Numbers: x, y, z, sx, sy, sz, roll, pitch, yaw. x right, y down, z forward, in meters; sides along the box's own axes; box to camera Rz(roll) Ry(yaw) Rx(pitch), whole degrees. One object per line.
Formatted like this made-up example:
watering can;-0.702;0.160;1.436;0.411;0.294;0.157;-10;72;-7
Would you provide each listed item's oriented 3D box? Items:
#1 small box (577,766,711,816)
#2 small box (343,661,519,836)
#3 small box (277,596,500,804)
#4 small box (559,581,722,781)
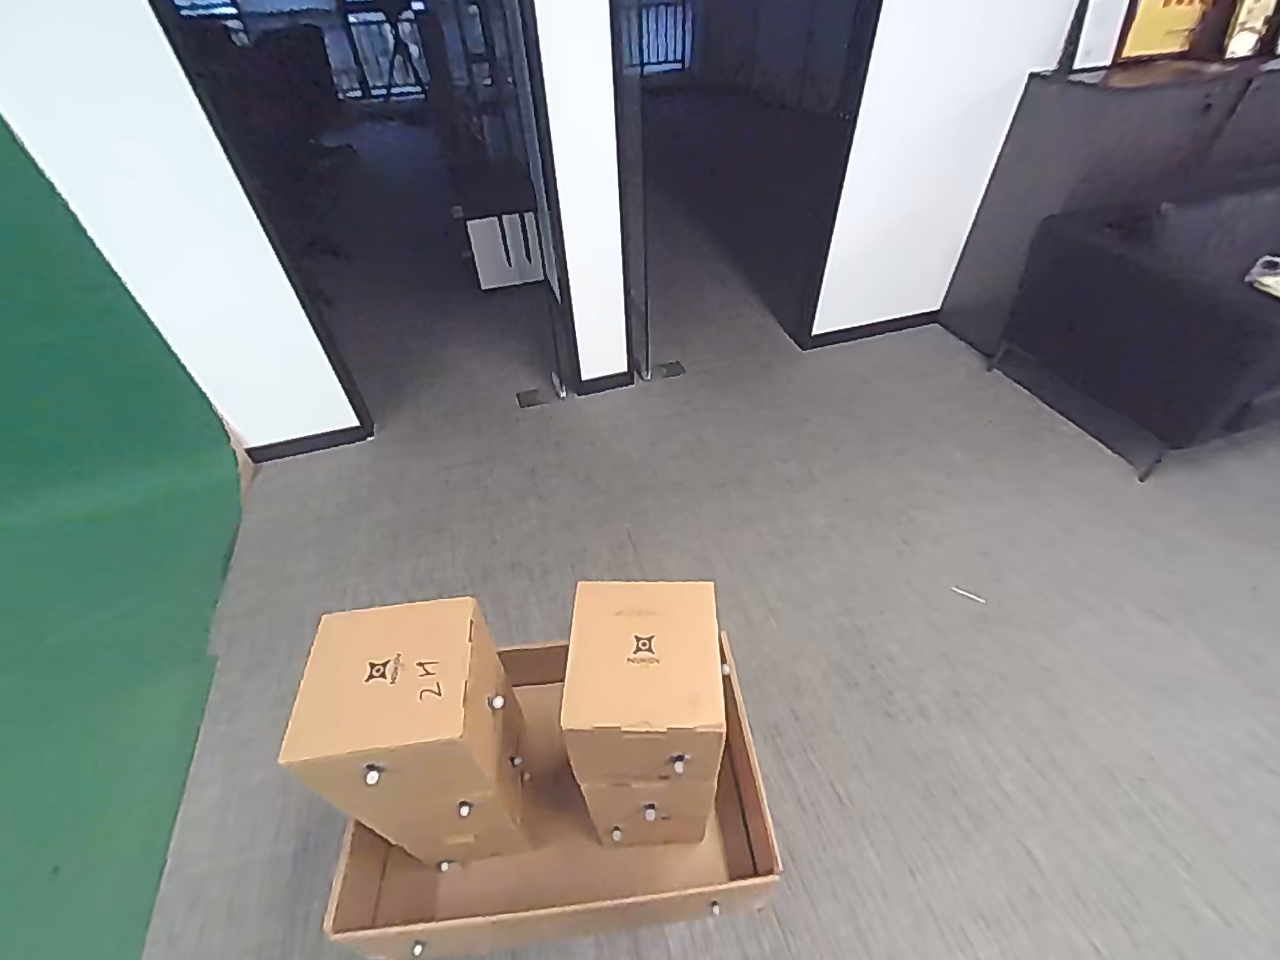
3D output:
small box;0.009;0.358;0.761;0.168;0.176;0.179;0;46;0
small box;-0.273;0.375;0.753;0.179;0.176;0.168;-4;45;-6
small box;-0.271;0.260;0.635;0.179;0.176;0.168;-5;46;-6
small box;0.005;0.242;0.645;0.168;0.176;0.179;1;44;1
